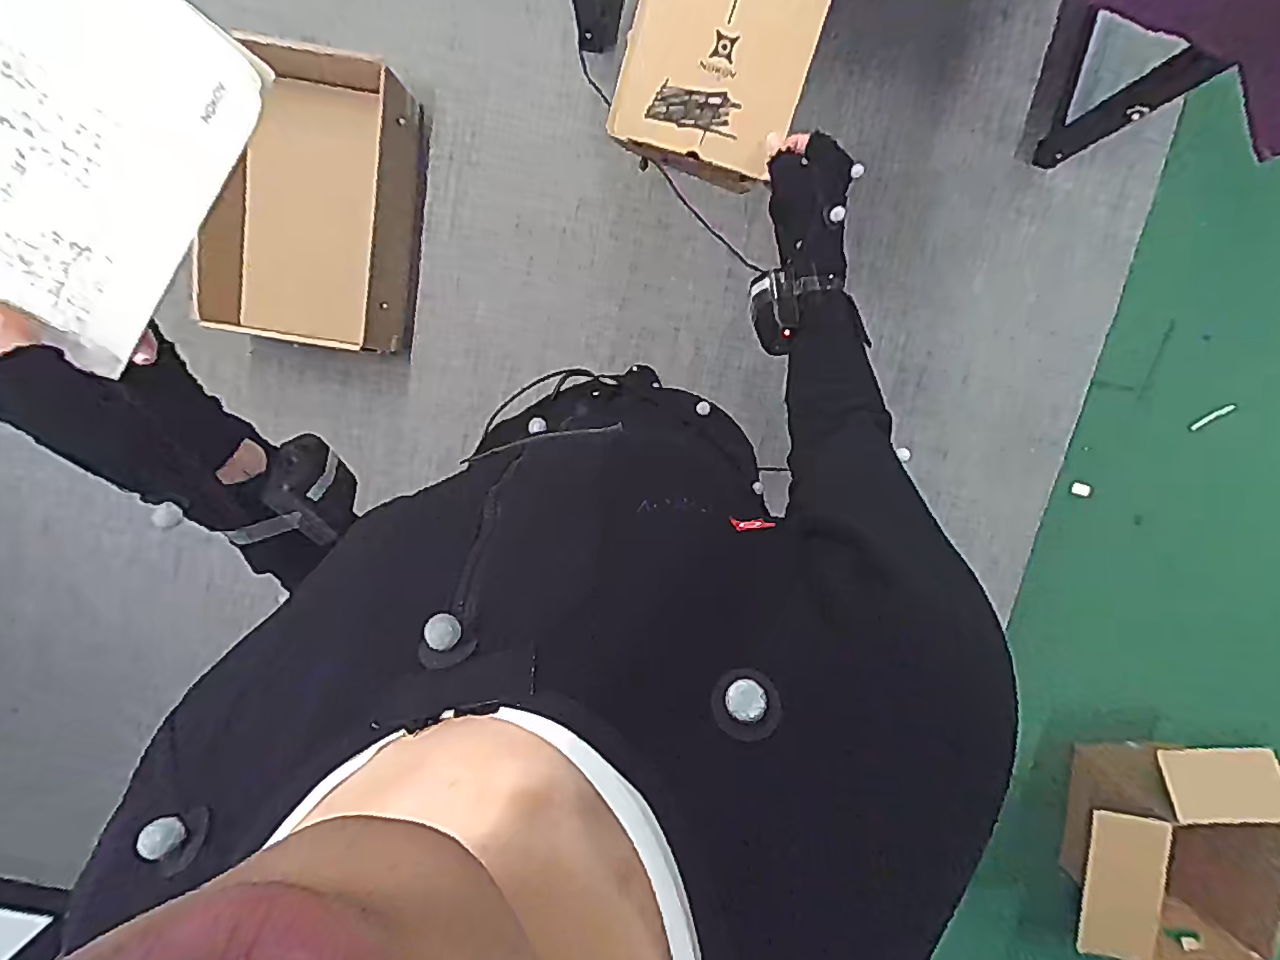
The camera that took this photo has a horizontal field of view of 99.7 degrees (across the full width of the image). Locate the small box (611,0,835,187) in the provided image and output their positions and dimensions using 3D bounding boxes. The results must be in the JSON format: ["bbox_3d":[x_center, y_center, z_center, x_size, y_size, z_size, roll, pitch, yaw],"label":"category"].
[{"bbox_3d":[0.082,-0.432,0.576,0.168,0.176,0.179,19,116,-4],"label":"small box"}]
